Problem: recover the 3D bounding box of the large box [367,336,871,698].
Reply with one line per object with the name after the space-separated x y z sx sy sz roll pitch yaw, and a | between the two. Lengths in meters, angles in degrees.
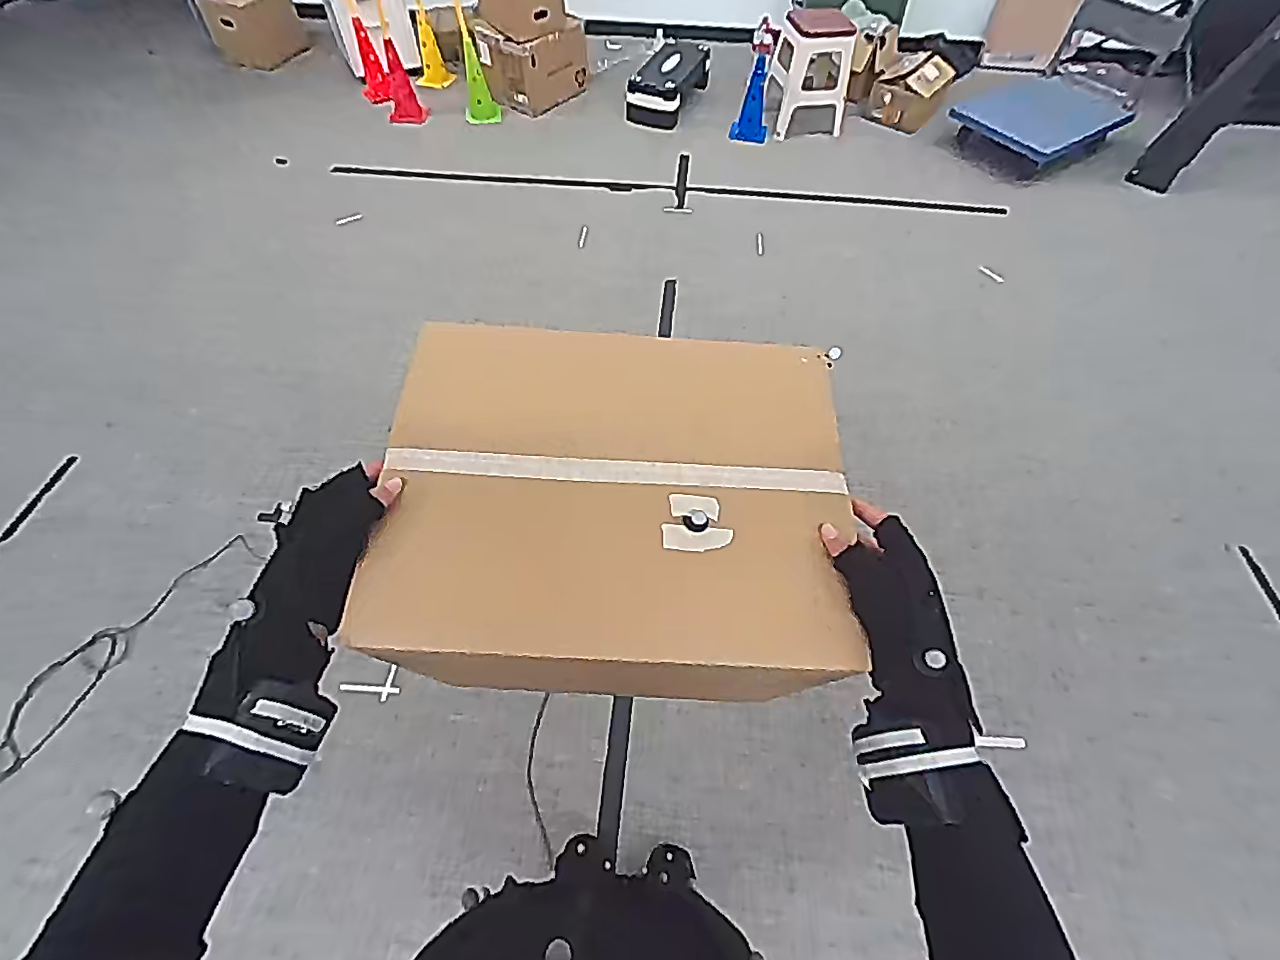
-0.020 0.066 0.618 0.408 0.320 0.320 4 64 -2 | large box
